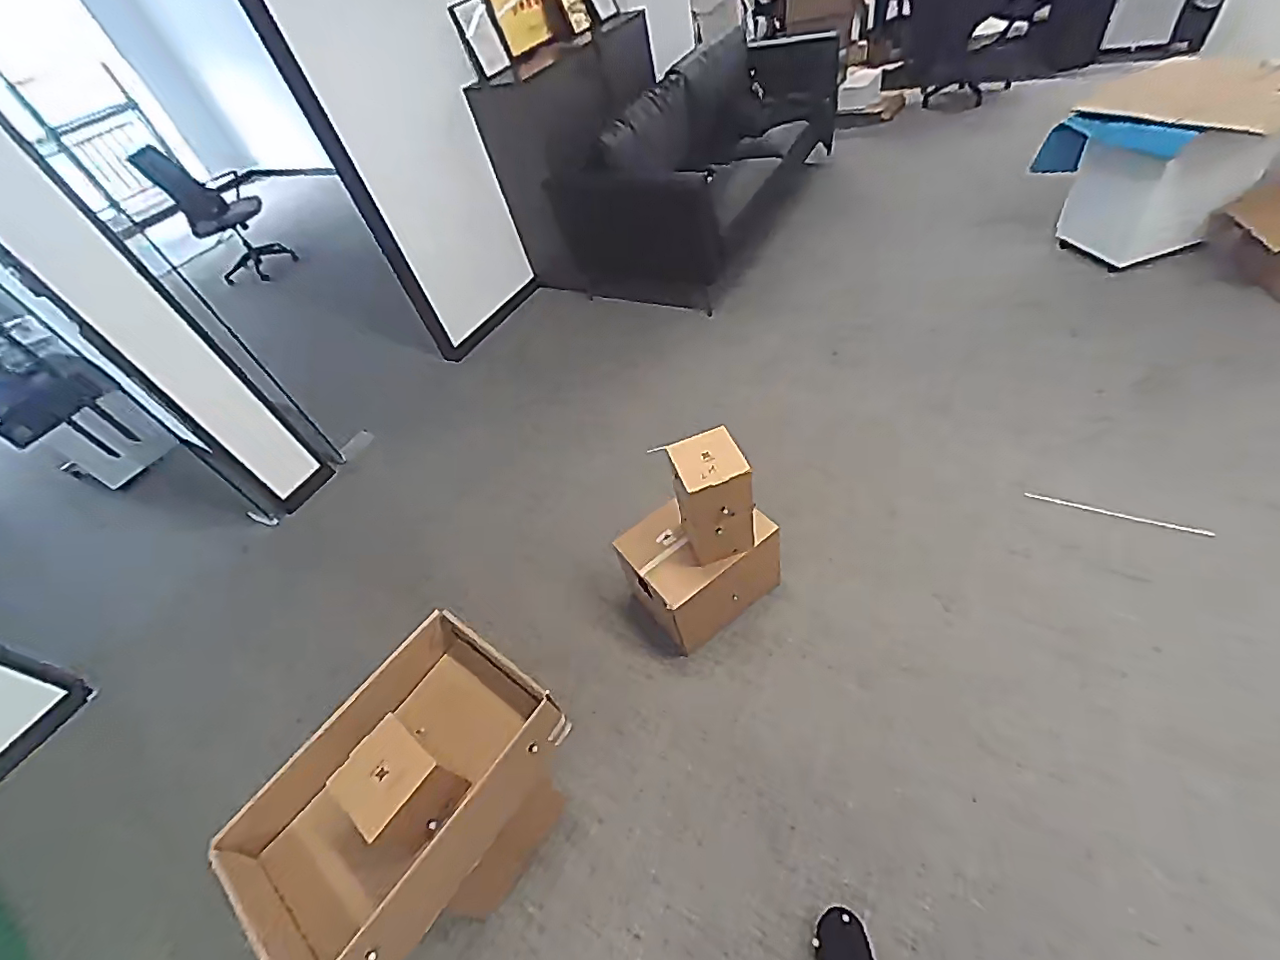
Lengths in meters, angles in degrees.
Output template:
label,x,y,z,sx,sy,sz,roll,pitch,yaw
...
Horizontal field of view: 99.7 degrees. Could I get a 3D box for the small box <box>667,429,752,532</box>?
label,x,y,z,sx,sy,sz,roll,pitch,yaw
small box,0.181,0.003,1.407,0.168,0.176,0.179,-20,48,-3

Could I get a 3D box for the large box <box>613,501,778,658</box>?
label,x,y,z,sx,sy,sz,roll,pitch,yaw
large box,0.189,0.278,1.722,0.408,0.320,0.320,-35,49,-15

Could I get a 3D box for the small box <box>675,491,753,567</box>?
label,x,y,z,sx,sy,sz,roll,pitch,yaw
small box,0.210,0.113,1.528,0.168,0.176,0.179,-19,47,-3
